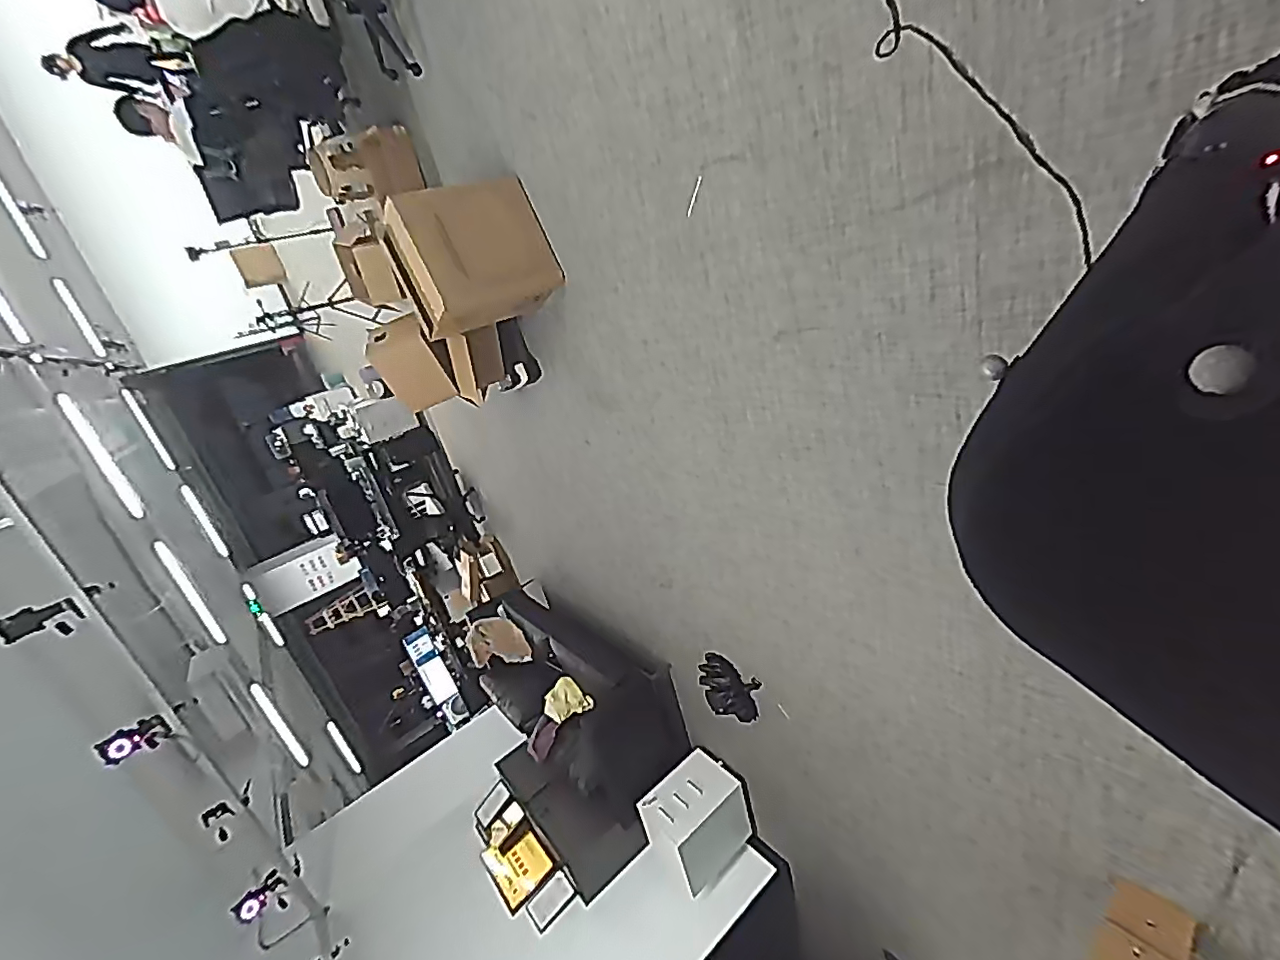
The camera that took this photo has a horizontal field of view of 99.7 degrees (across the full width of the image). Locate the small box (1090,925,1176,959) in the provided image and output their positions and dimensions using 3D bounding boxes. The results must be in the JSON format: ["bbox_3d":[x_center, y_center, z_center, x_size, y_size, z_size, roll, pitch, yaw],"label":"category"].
[{"bbox_3d":[1.370,1.387,1.491,0.179,0.176,0.168,16,128,51],"label":"small box"}]

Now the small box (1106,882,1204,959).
[{"bbox_3d":[1.496,1.329,1.577,0.179,0.176,0.168,12,125,51],"label":"small box"}]
